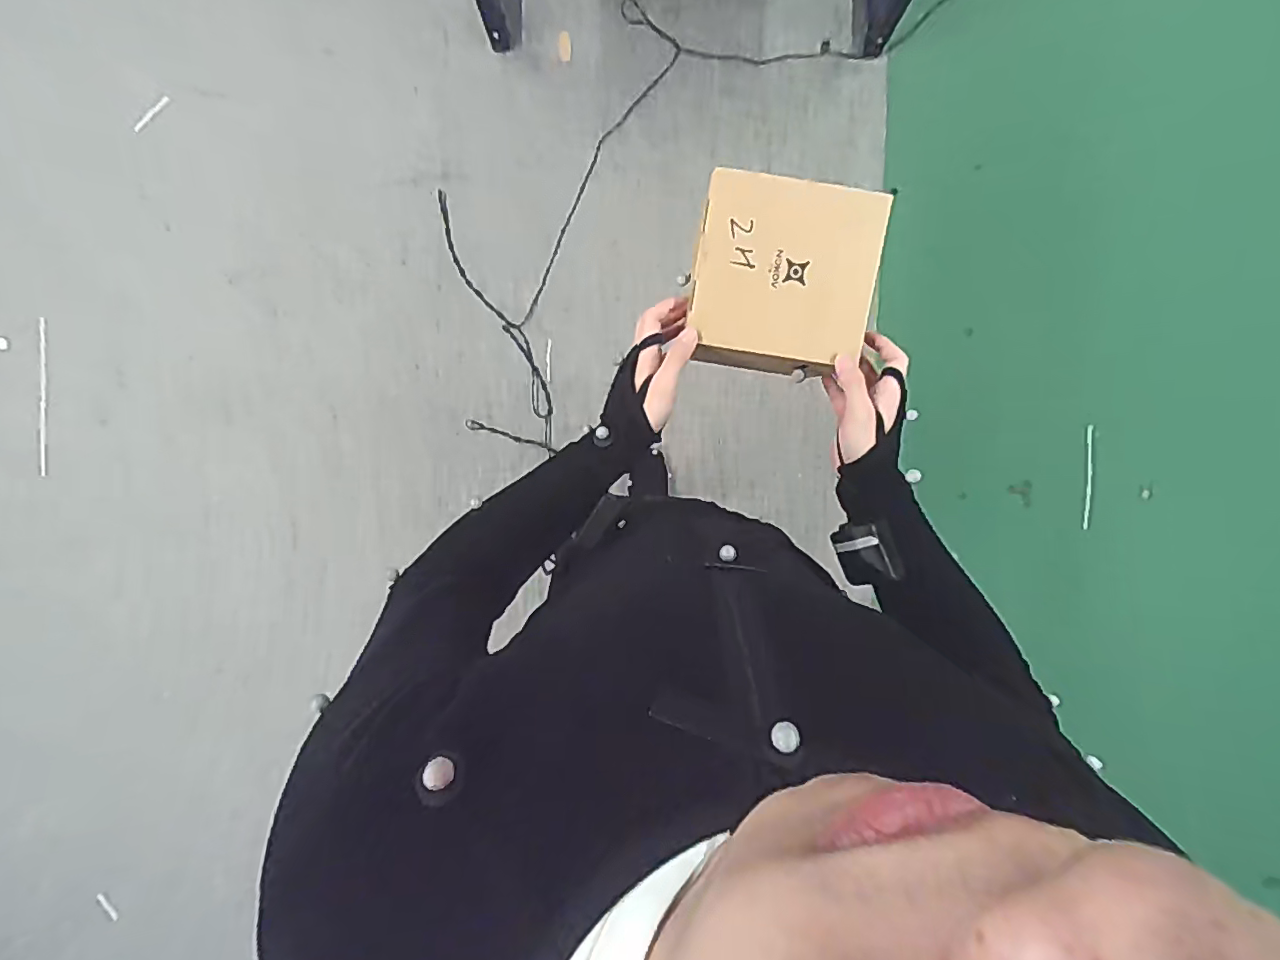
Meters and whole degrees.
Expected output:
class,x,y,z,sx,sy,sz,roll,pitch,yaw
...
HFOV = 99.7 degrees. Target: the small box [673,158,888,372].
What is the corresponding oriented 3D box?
class,x,y,z,sx,sy,sz,roll,pitch,yaw
small box,0.137,-0.217,0.595,0.179,0.176,0.168,10,96,0
